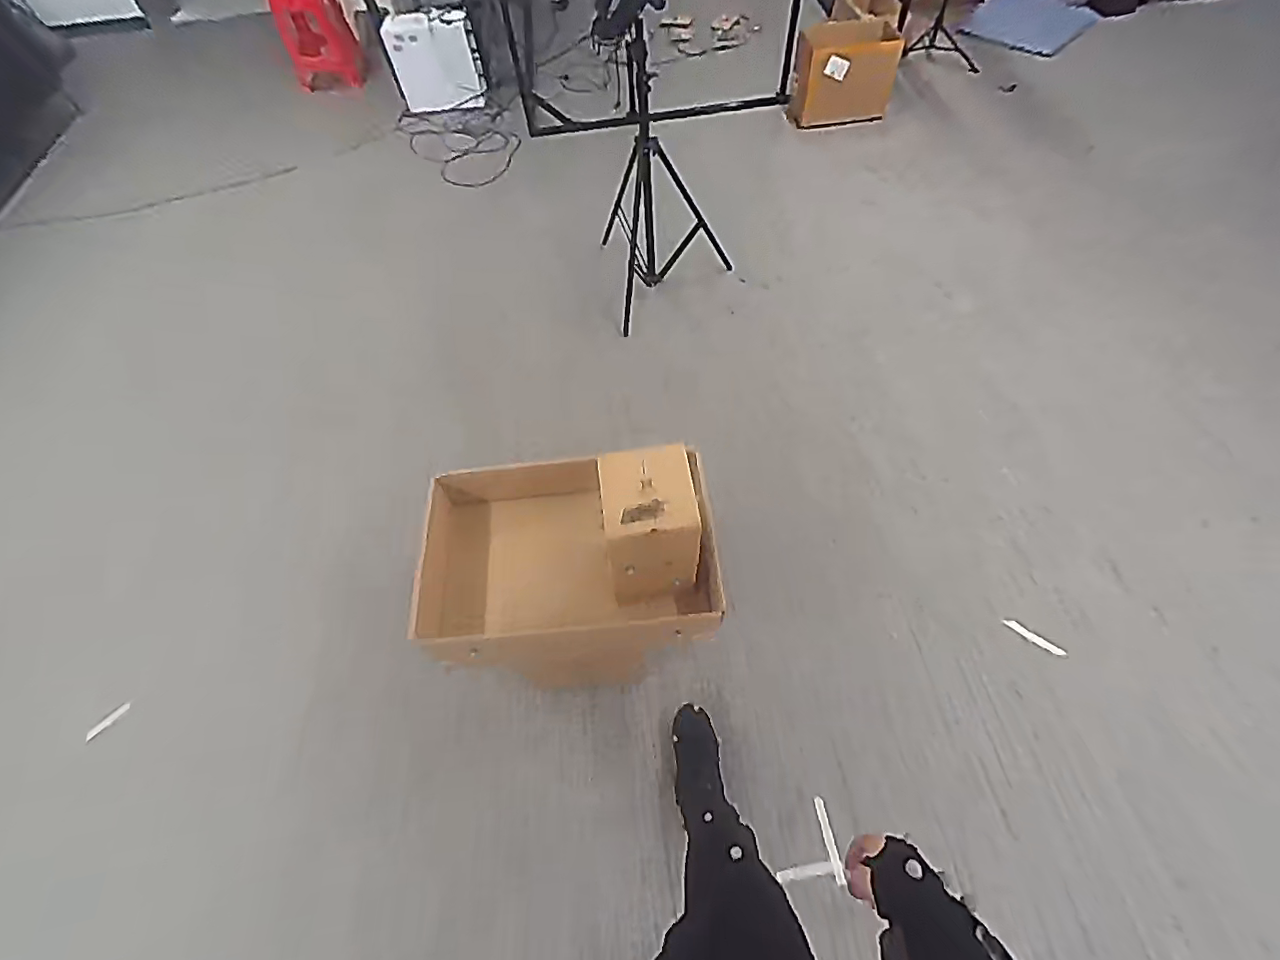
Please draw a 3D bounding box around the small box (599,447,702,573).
[{"bbox_3d":[0.019,0.064,1.014,0.168,0.176,0.179,-8,58,-2],"label":"small box"}]
